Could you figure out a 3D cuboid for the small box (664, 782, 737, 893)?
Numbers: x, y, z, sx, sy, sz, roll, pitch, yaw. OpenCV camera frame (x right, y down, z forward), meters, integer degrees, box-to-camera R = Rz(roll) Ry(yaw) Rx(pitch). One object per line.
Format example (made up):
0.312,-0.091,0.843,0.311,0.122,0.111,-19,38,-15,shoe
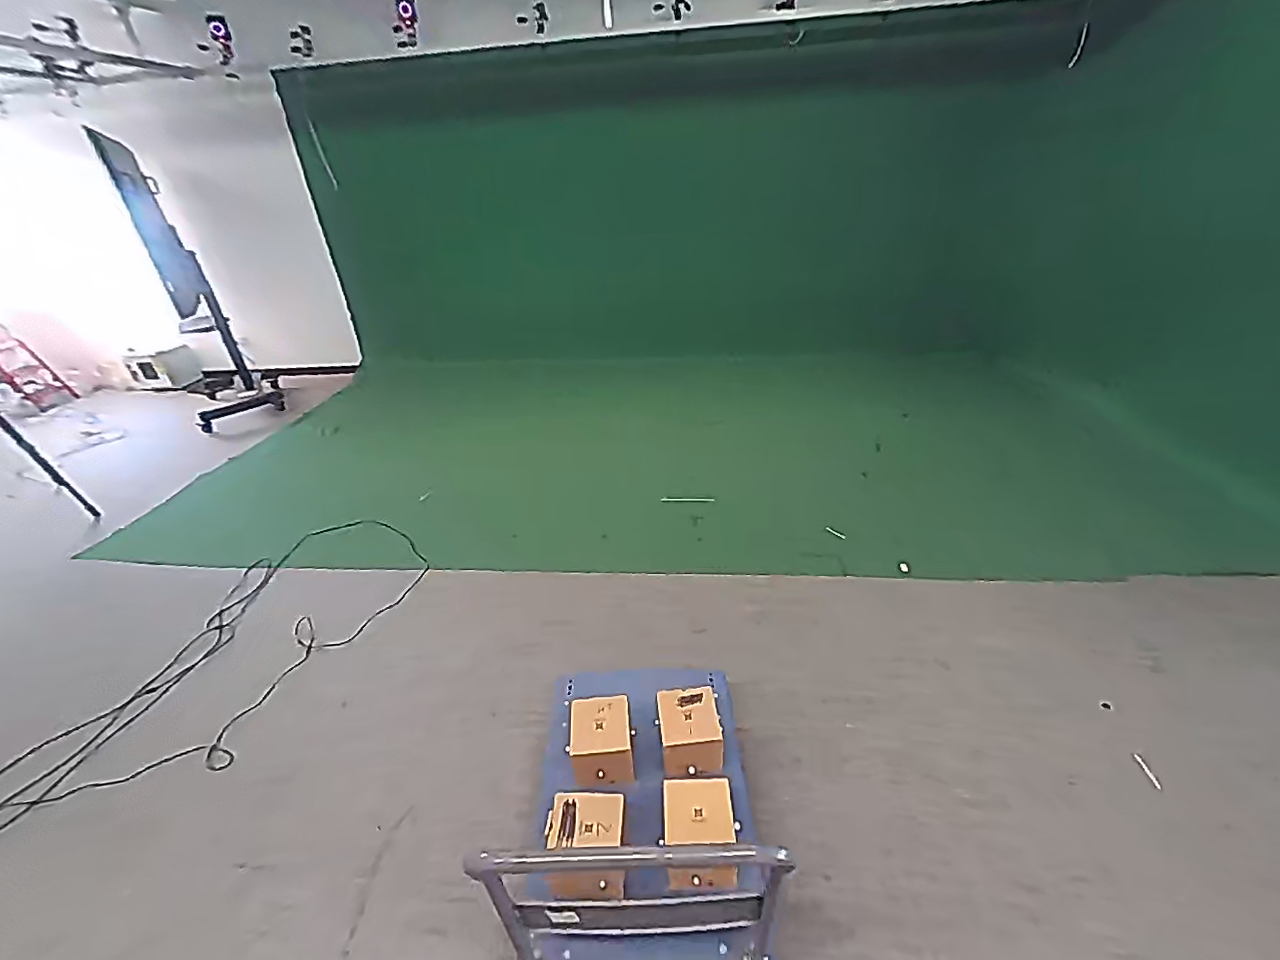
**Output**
0.141,0.877,1.331,0.168,0.176,0.179,-2,31,2,small box

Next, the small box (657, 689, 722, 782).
0.139,0.737,1.562,0.168,0.176,0.179,-5,32,-1,small box

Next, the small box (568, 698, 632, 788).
-0.112,0.759,1.552,0.168,0.176,0.179,-4,31,-2,small box
